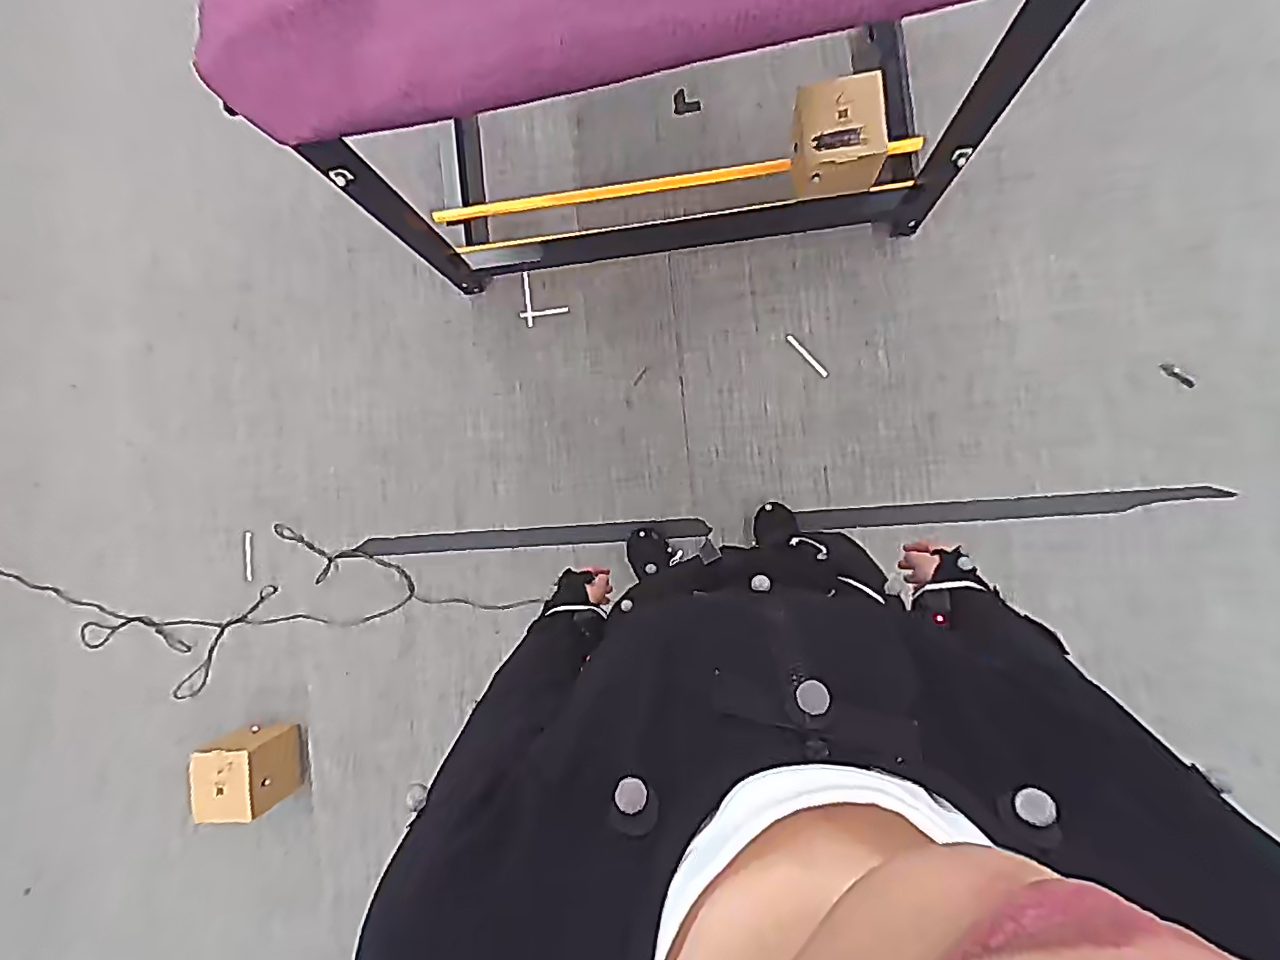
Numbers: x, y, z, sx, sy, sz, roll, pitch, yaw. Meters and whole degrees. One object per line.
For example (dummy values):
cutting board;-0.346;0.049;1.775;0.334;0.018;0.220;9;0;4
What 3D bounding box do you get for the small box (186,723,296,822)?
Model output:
small box;-1.033;0.757;1.411;0.168;0.176;0.179;-5;88;6
